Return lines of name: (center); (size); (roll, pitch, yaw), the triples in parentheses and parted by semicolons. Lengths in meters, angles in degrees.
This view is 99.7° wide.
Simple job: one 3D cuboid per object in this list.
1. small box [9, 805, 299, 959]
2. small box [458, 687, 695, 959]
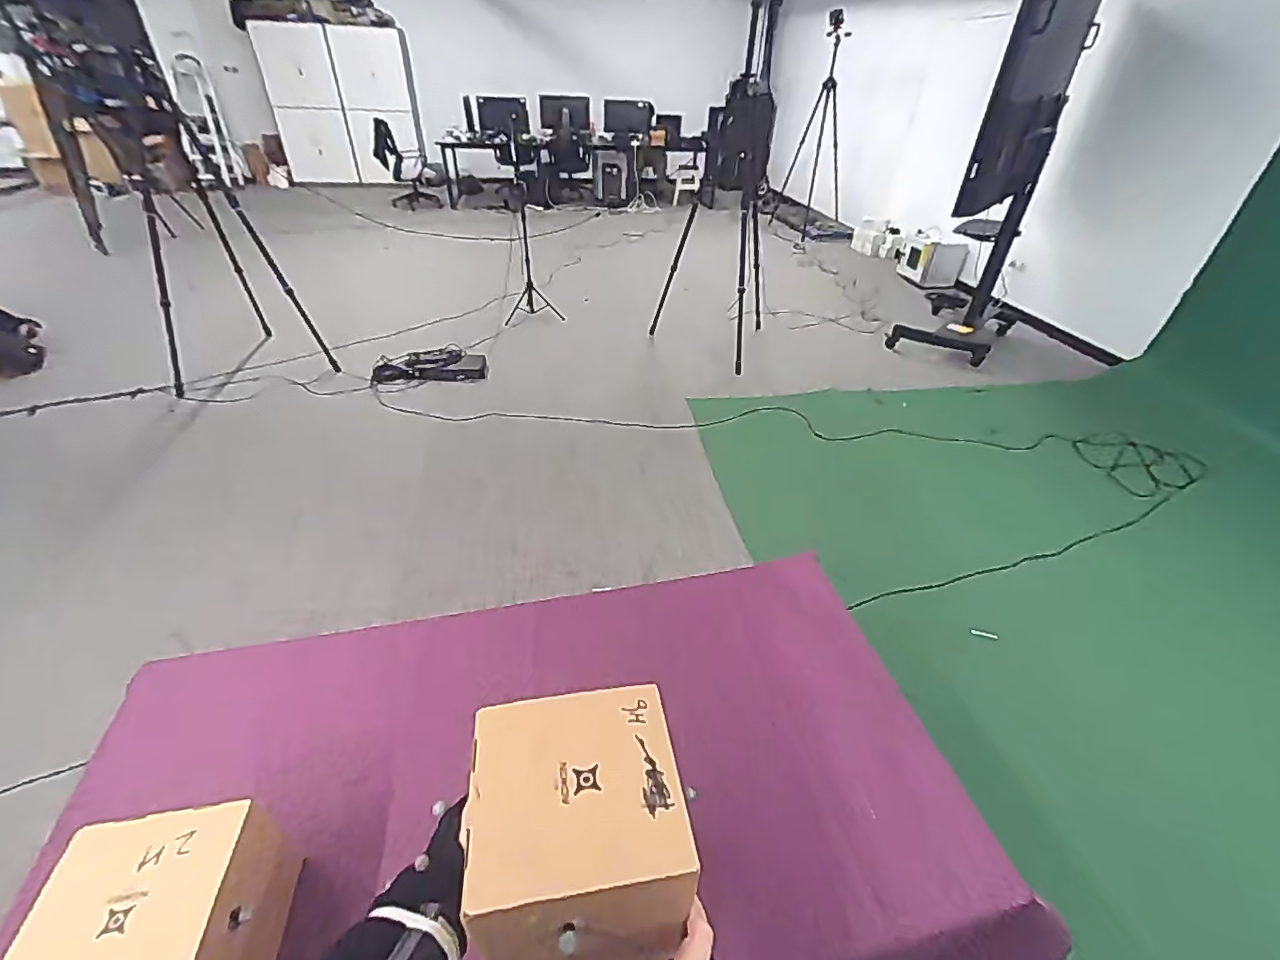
small box: (-0.485, 0.473, 0.555); (0.168, 0.176, 0.179); (-4, 37, -9)
small box: (-0.055, 0.322, 0.497); (0.179, 0.176, 0.168); (-4, 34, -9)
